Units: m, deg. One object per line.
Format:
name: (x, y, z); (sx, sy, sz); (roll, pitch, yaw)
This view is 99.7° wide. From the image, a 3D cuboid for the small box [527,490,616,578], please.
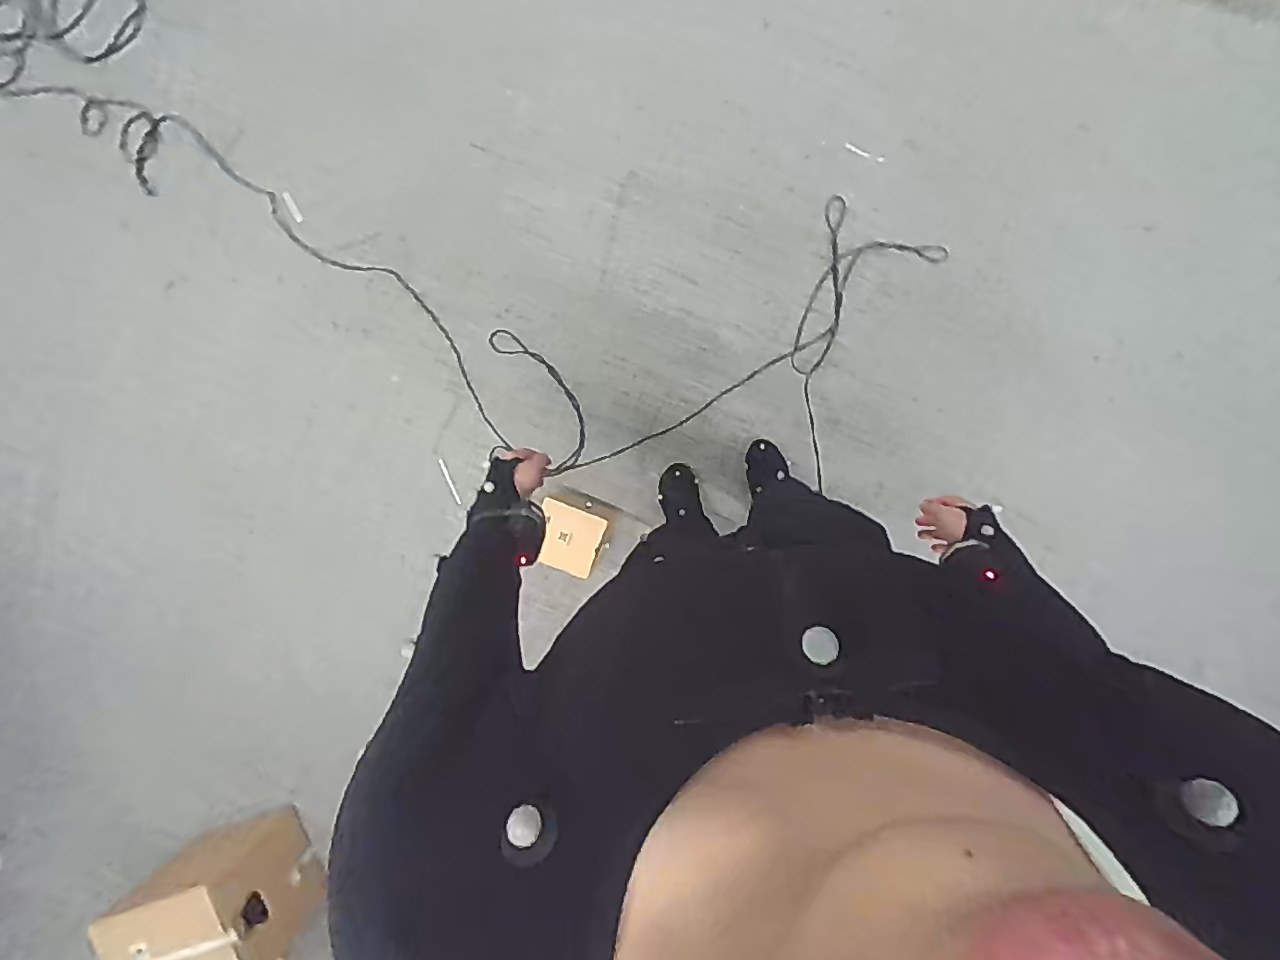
small box: (-0.174, 0.135, 1.439); (0.179, 0.176, 0.168); (21, 97, 2)
